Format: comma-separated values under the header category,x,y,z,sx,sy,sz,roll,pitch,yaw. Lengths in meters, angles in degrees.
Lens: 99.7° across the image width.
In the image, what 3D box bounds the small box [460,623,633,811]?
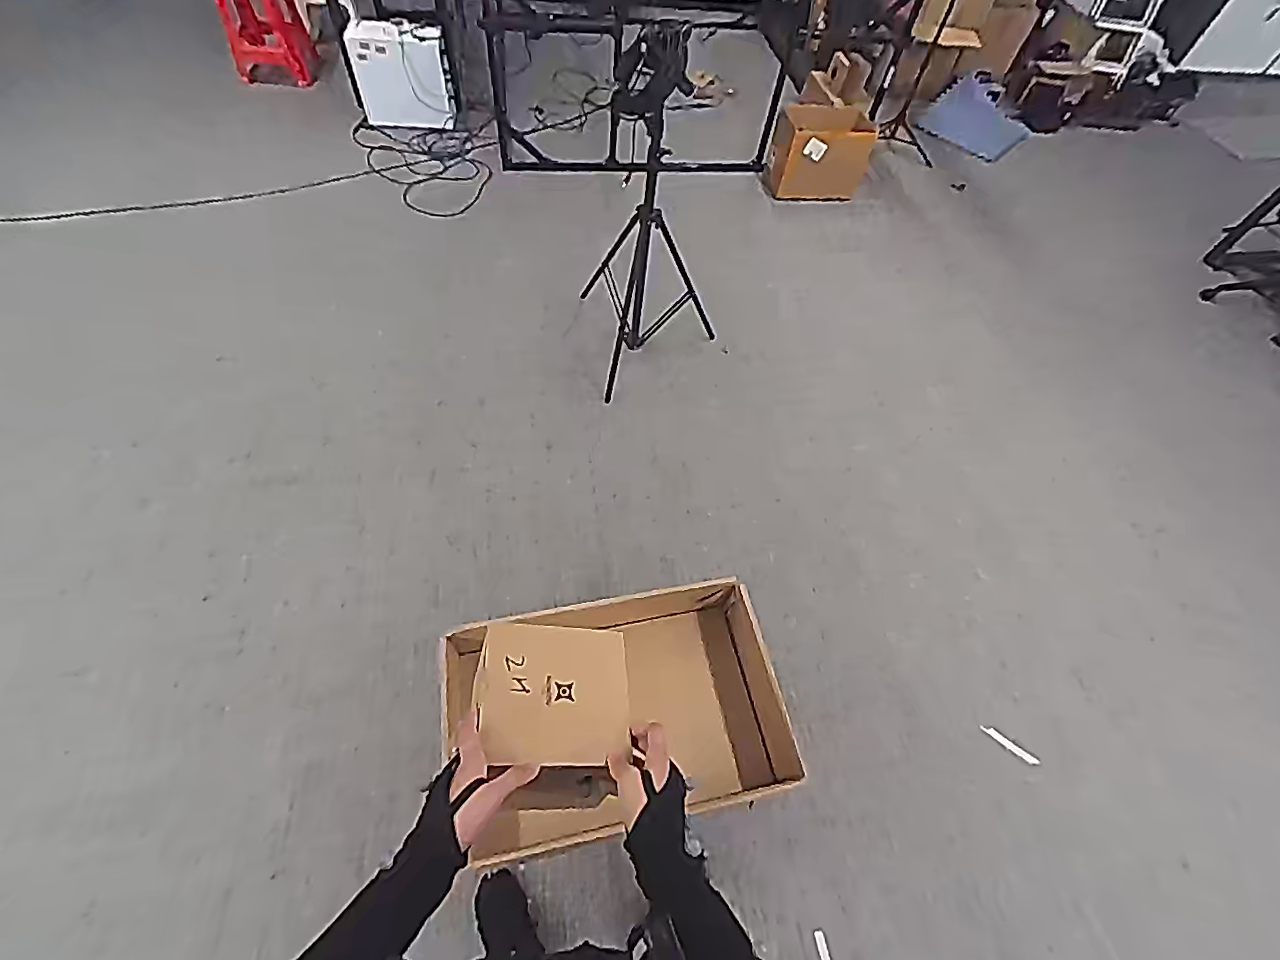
category,x,y,z,sx,sy,sz,roll,pitch,yaw
small box,-0.120,0.301,0.680,0.179,0.176,0.168,9,44,-16
